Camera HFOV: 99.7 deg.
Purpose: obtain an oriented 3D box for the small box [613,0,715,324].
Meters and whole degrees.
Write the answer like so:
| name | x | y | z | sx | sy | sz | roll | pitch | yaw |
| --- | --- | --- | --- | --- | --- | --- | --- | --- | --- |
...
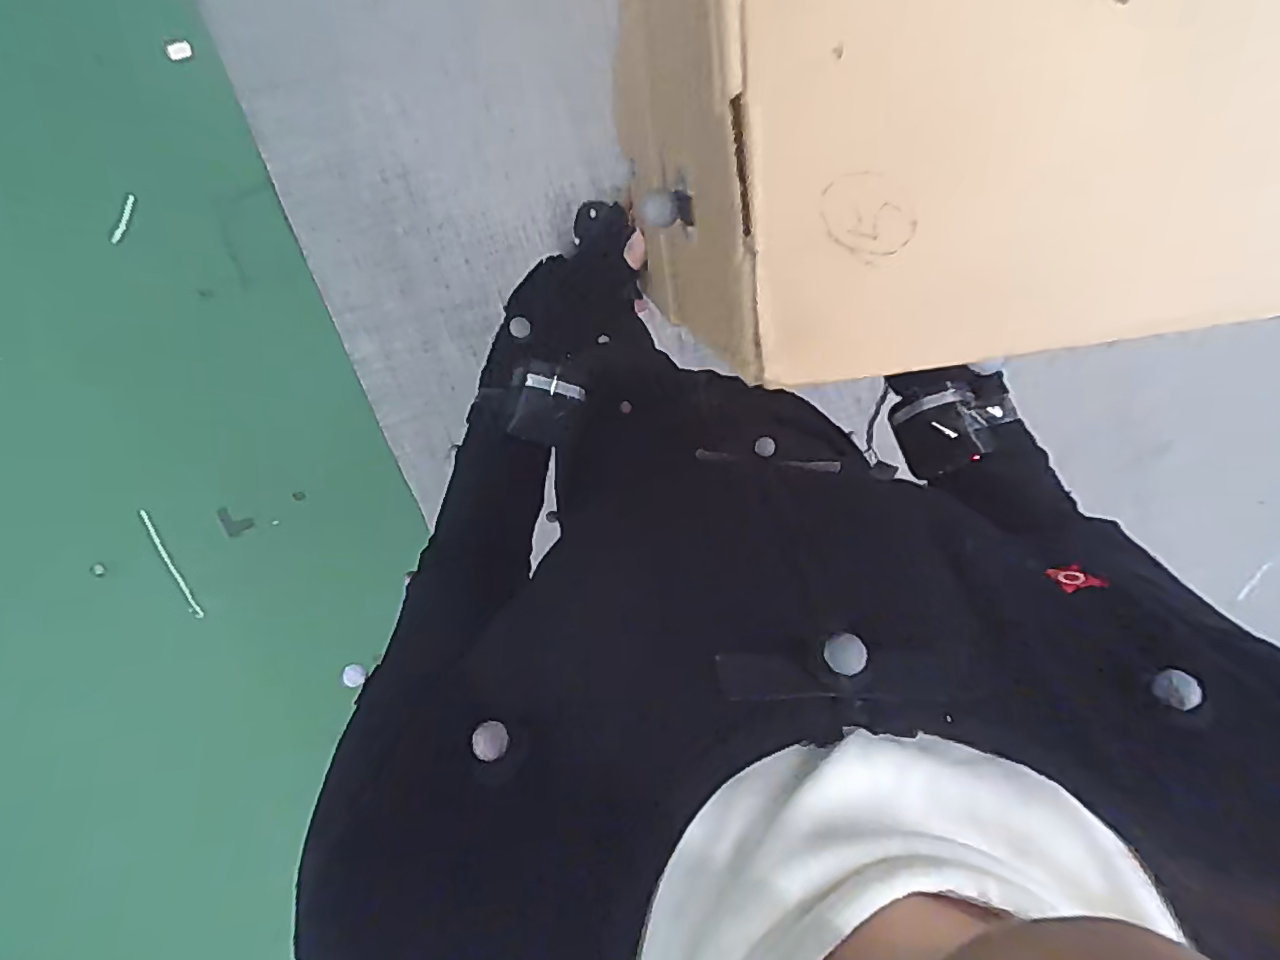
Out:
| name | x | y | z | sx | sy | sz | roll | pitch | yaw |
| --- | --- | --- | --- | --- | --- | --- | --- | --- | --- |
| small box | 0.085 | -0.202 | 0.323 | 0.179 | 0.176 | 0.168 | -12 | 113 | 1 |

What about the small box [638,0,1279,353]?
| name | x | y | z | sx | sy | sz | roll | pitch | yaw |
| --- | --- | --- | --- | --- | --- | --- | --- | --- | --- |
| small box | 0.091 | -0.145 | 0.172 | 0.179 | 0.176 | 0.168 | -9 | 114 | 0 |
